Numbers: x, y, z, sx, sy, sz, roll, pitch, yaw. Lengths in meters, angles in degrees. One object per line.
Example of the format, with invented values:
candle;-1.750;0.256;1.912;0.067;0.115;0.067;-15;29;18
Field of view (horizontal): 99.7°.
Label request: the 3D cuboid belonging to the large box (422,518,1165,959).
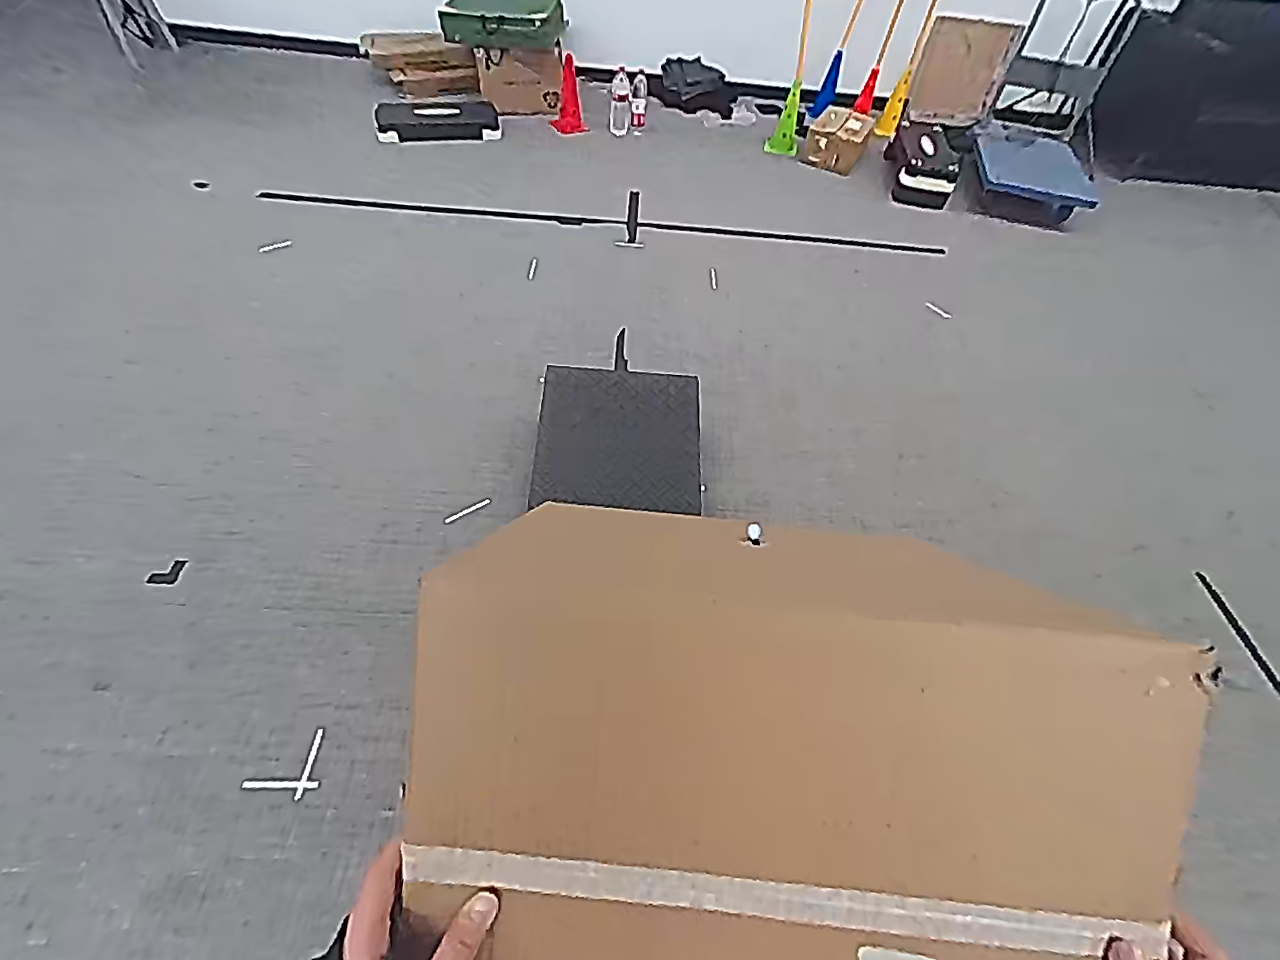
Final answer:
large box;0.077;0.212;0.452;0.408;0.320;0.320;4;96;1
